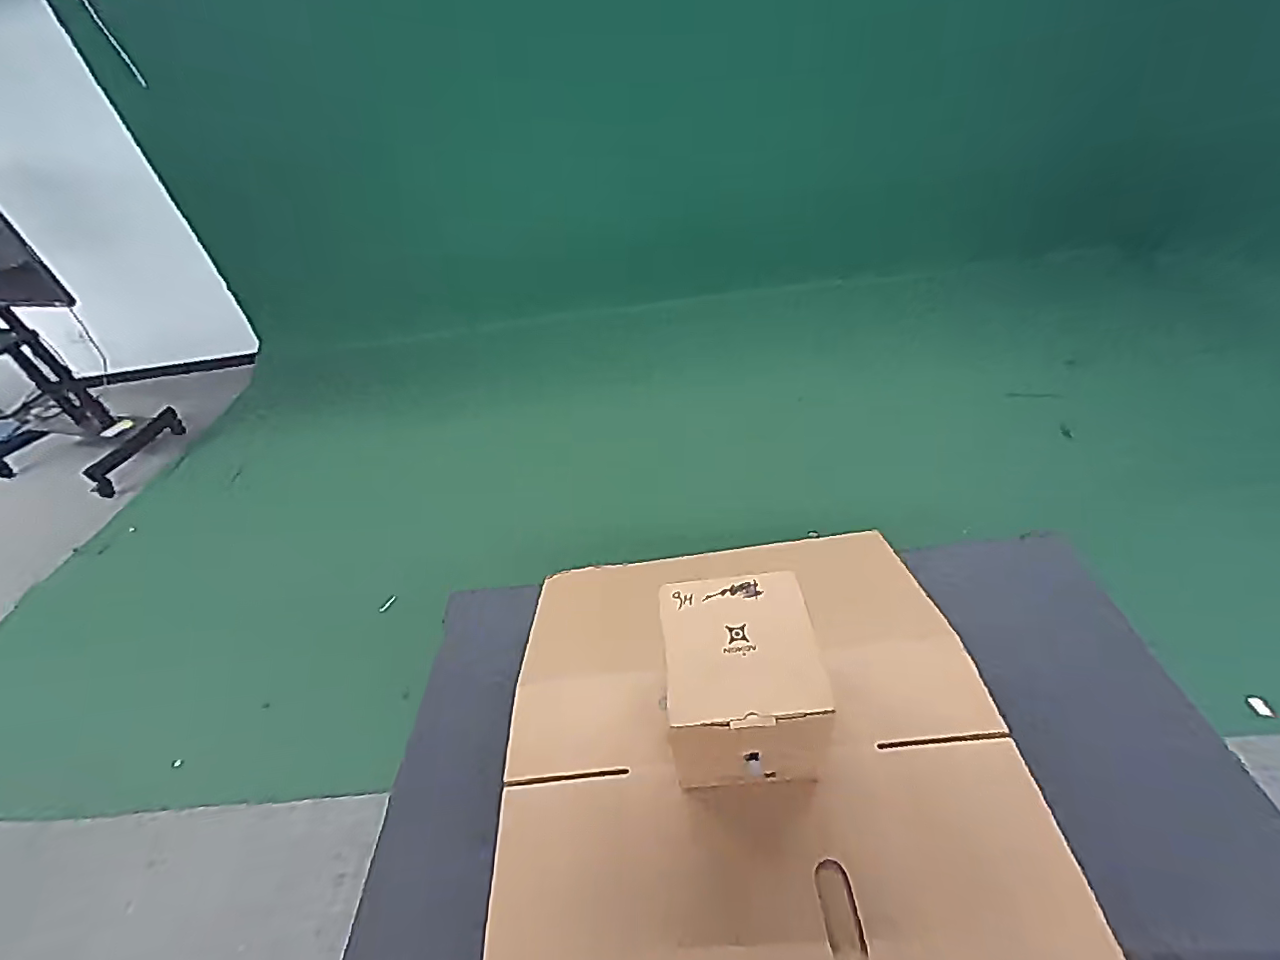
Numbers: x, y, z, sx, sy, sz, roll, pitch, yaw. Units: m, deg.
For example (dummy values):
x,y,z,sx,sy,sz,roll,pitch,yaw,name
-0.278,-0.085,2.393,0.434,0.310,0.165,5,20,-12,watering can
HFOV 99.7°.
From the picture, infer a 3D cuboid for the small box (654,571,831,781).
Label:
x,y,z,sx,sy,sz,roll,pitch,yaw,name
0.114,0.237,0.644,0.168,0.176,0.179,-9,42,2,small box
